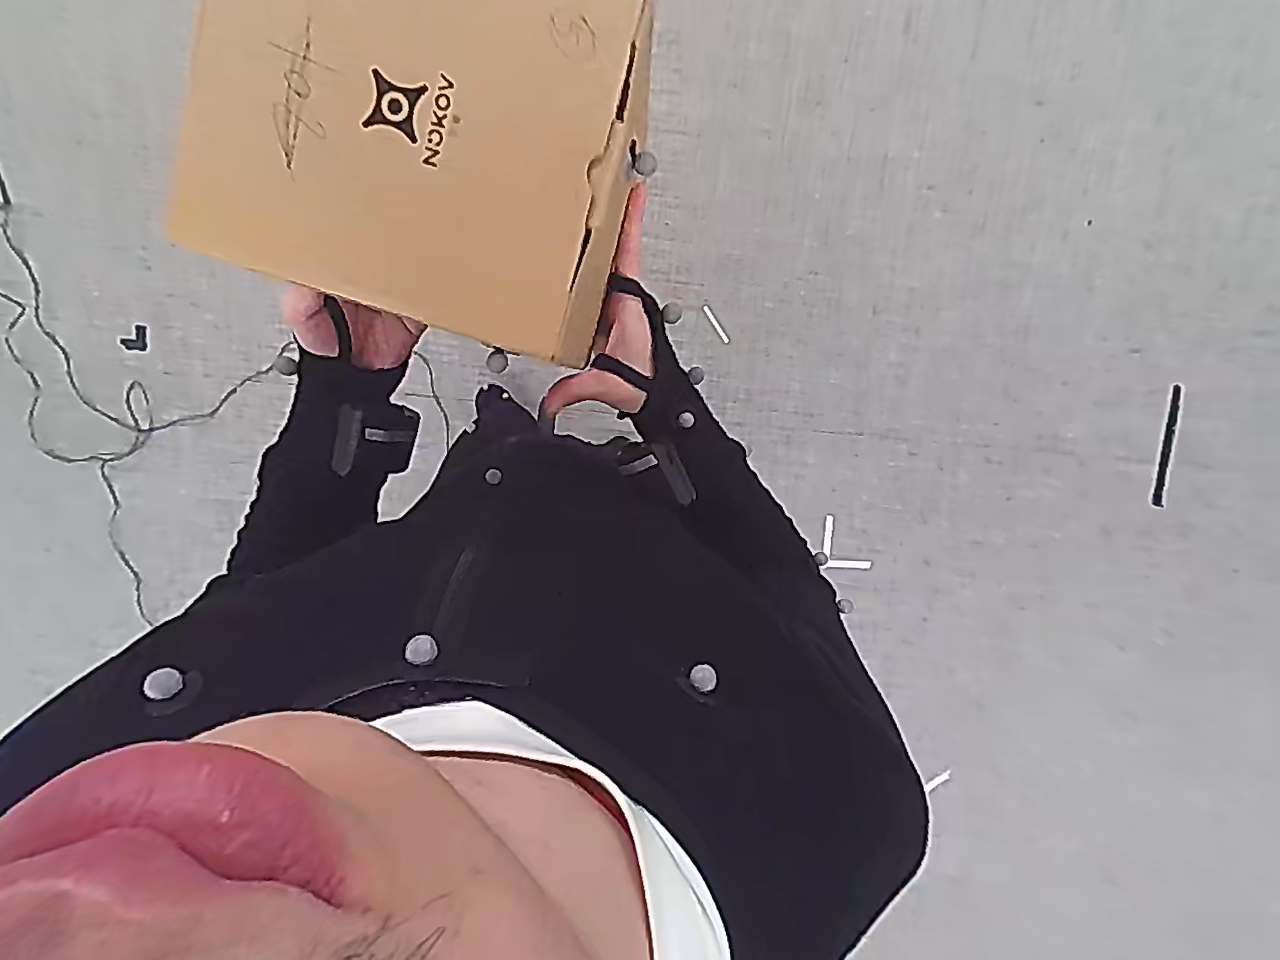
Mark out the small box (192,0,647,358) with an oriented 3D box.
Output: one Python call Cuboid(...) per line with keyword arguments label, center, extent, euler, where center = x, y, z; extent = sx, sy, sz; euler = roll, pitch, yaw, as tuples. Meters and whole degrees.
Cuboid(label="small box", center=(-0.102, -0.175, 0.319), extent=(0.179, 0.176, 0.168), euler=(14, 97, -3))
